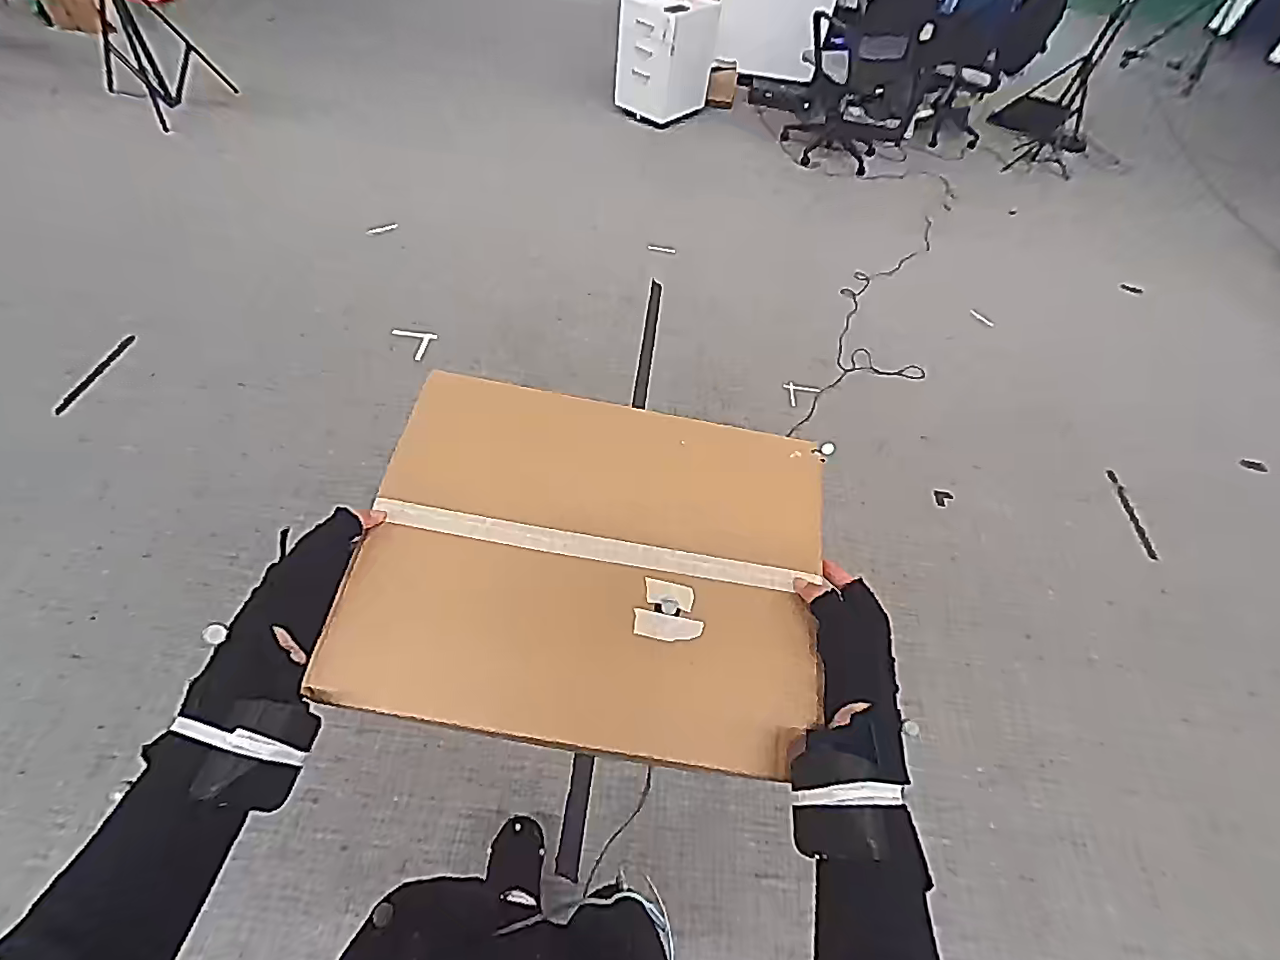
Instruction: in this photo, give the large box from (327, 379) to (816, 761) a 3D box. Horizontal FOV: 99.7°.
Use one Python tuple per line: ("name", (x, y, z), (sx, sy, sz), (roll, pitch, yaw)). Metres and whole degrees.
("large box", (-0.052, 0.127, 0.629), (0.408, 0.320, 0.320), (11, 64, -3))
